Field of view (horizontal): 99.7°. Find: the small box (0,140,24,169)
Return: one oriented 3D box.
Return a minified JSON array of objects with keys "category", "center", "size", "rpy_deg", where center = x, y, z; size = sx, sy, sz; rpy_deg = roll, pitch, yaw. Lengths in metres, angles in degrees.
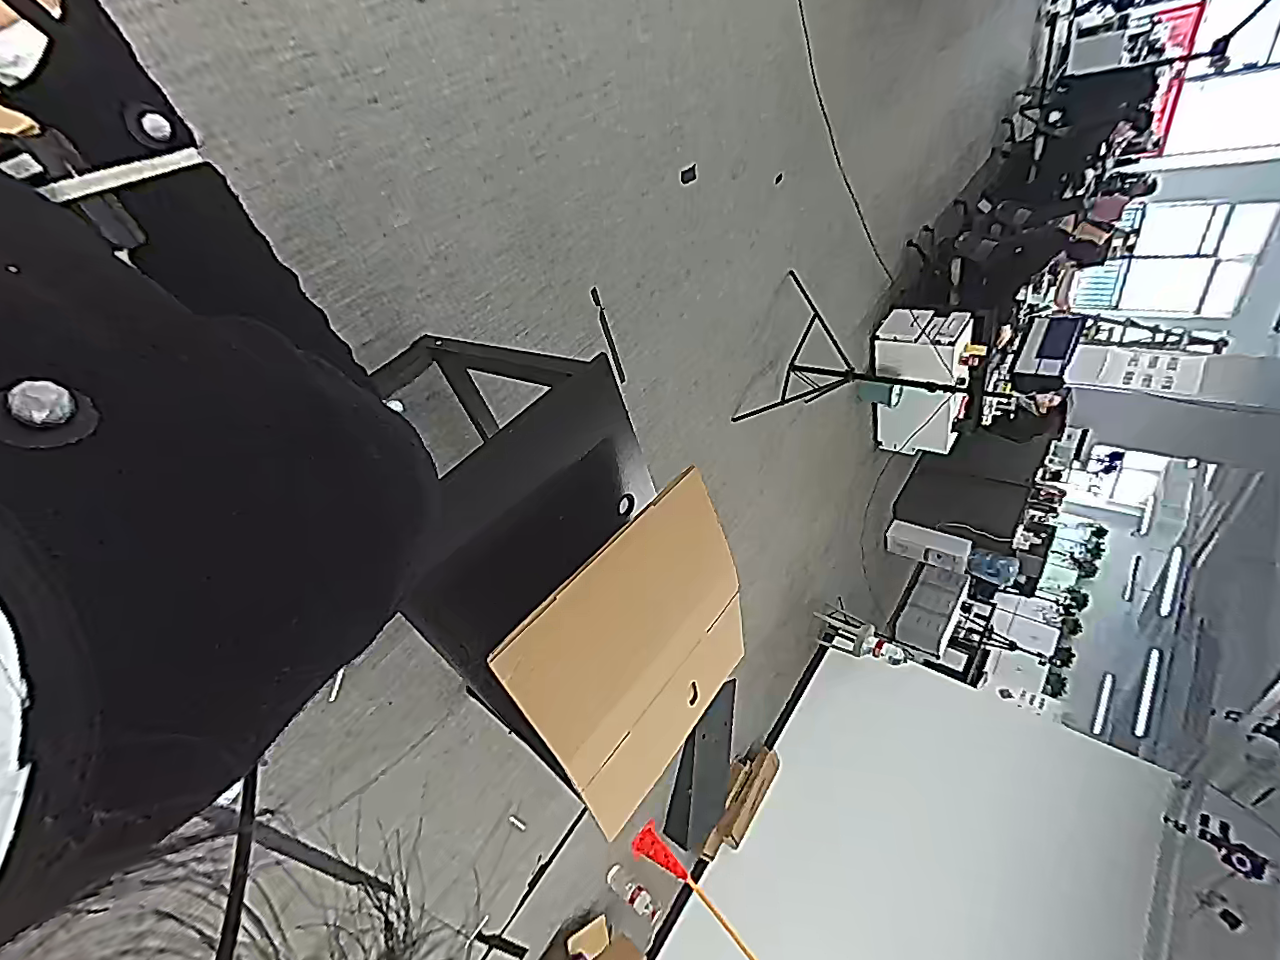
[{"category":"small box","center":[-1.096,-0.534,0.802],"size":[0.179,0.176,0.168],"rpy_deg":[-49,136,-25]}]

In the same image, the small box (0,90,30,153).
[{"category":"small box","center":[-0.971,-0.500,0.704],"size":[0.179,0.176,0.168],"rpy_deg":[-53,139,-24]}]
